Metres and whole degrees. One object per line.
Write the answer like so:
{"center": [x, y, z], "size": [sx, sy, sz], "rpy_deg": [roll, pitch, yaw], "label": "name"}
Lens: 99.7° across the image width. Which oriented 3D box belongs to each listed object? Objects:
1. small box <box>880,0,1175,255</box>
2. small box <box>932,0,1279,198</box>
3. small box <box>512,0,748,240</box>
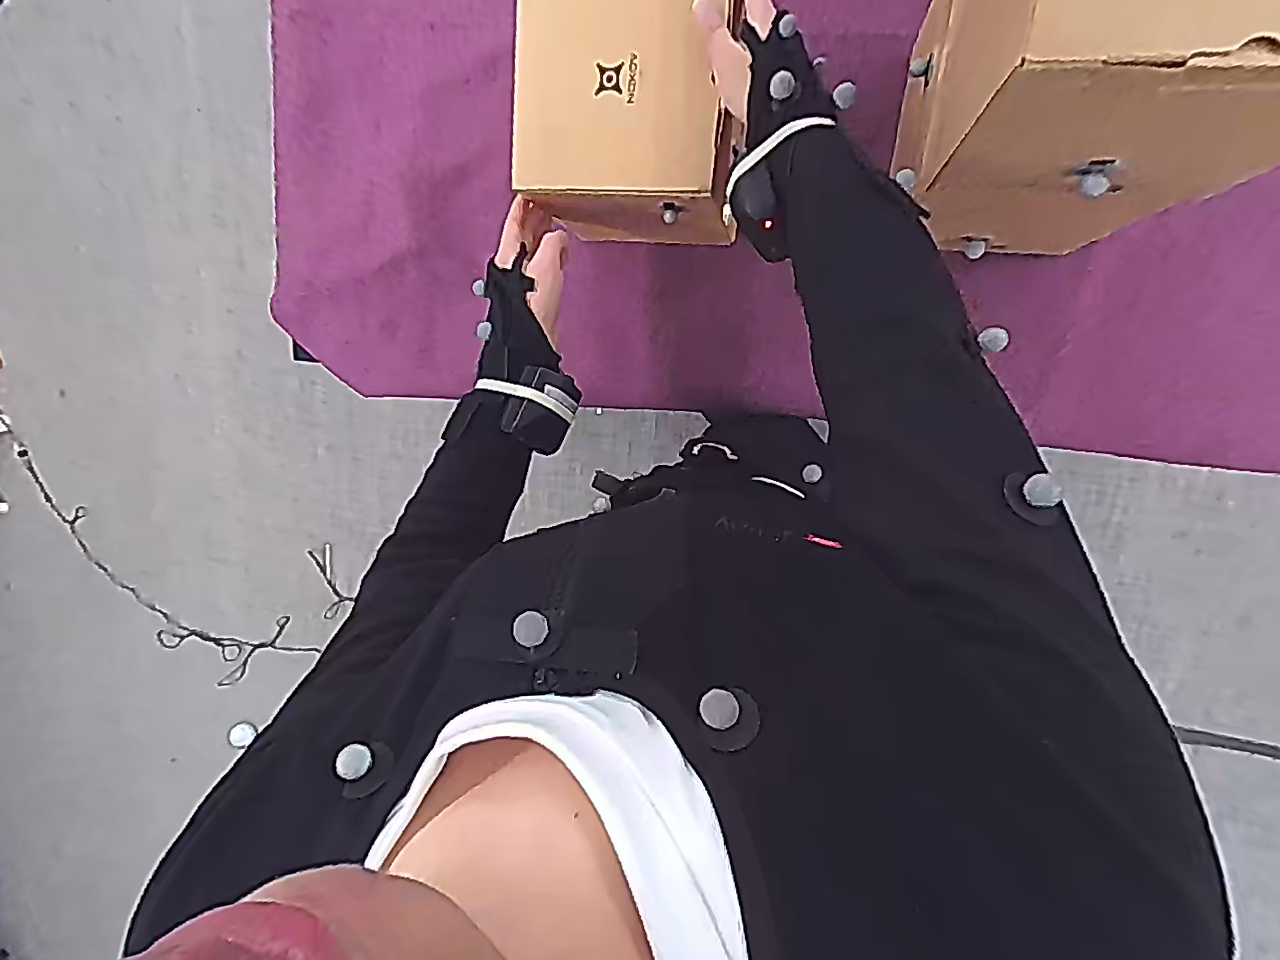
{"center": [0.304, -0.296, 0.432], "size": [0.168, 0.176, 0.179], "rpy_deg": [9, 102, 13], "label": "small box"}
{"center": [0.269, -0.267, 0.273], "size": [0.168, 0.176, 0.179], "rpy_deg": [9, 102, 14], "label": "small box"}
{"center": [0.000, -0.332, 0.504], "size": [0.179, 0.176, 0.168], "rpy_deg": [7, 101, 12], "label": "small box"}
